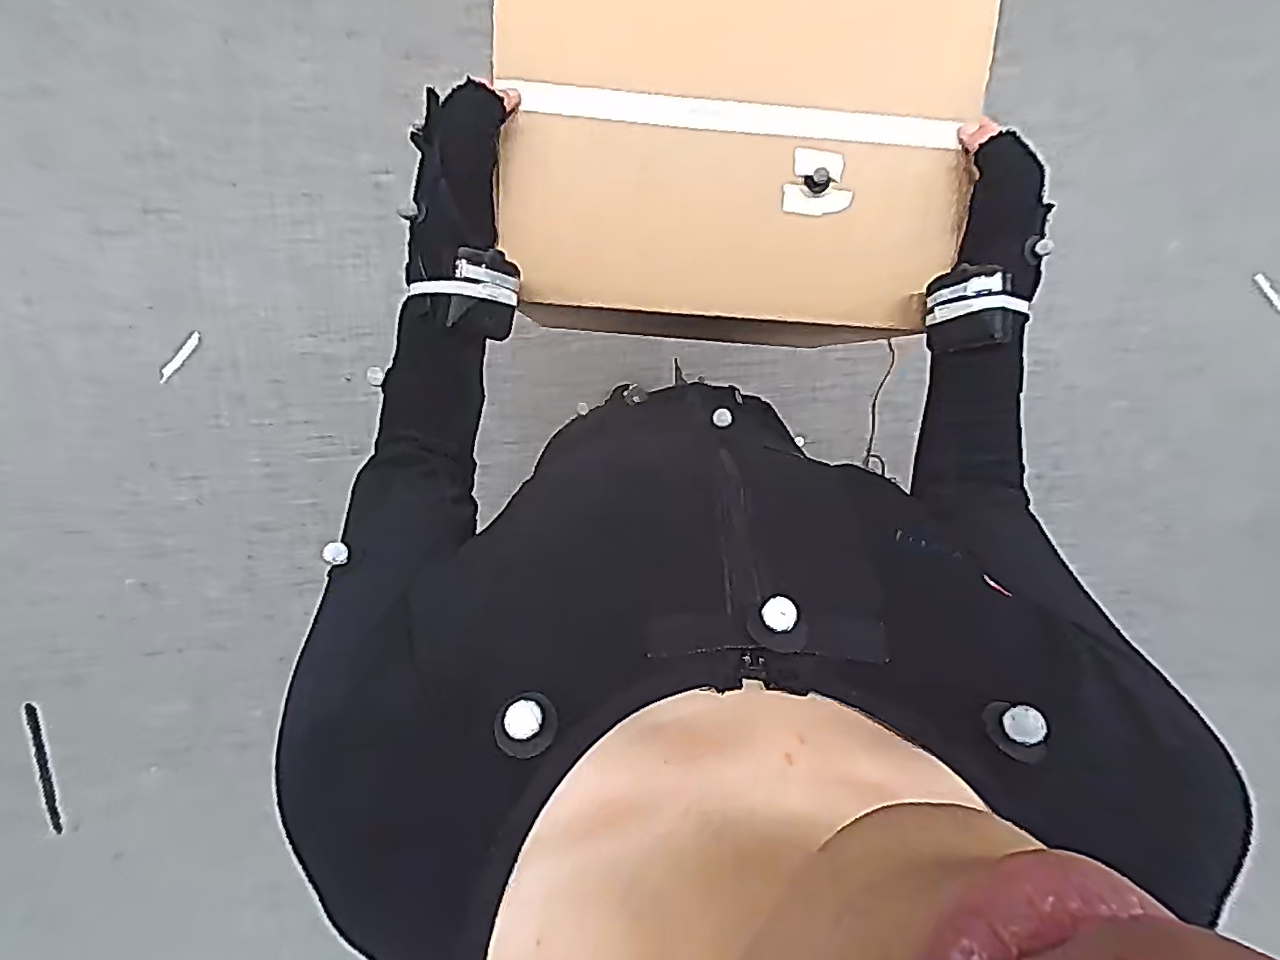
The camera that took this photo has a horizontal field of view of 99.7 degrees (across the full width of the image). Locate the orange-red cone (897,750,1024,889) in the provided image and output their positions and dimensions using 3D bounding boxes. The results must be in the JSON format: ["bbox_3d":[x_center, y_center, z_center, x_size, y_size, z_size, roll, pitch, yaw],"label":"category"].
[{"bbox_3d":[0.866,0.912,1.427,0.198,0.360,0.199,-6,95,-2],"label":"orange-red cone"}]

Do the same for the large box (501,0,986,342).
[{"bbox_3d":[0.074,-0.328,0.599,0.408,0.320,0.320,2,101,-4],"label":"large box"}]
